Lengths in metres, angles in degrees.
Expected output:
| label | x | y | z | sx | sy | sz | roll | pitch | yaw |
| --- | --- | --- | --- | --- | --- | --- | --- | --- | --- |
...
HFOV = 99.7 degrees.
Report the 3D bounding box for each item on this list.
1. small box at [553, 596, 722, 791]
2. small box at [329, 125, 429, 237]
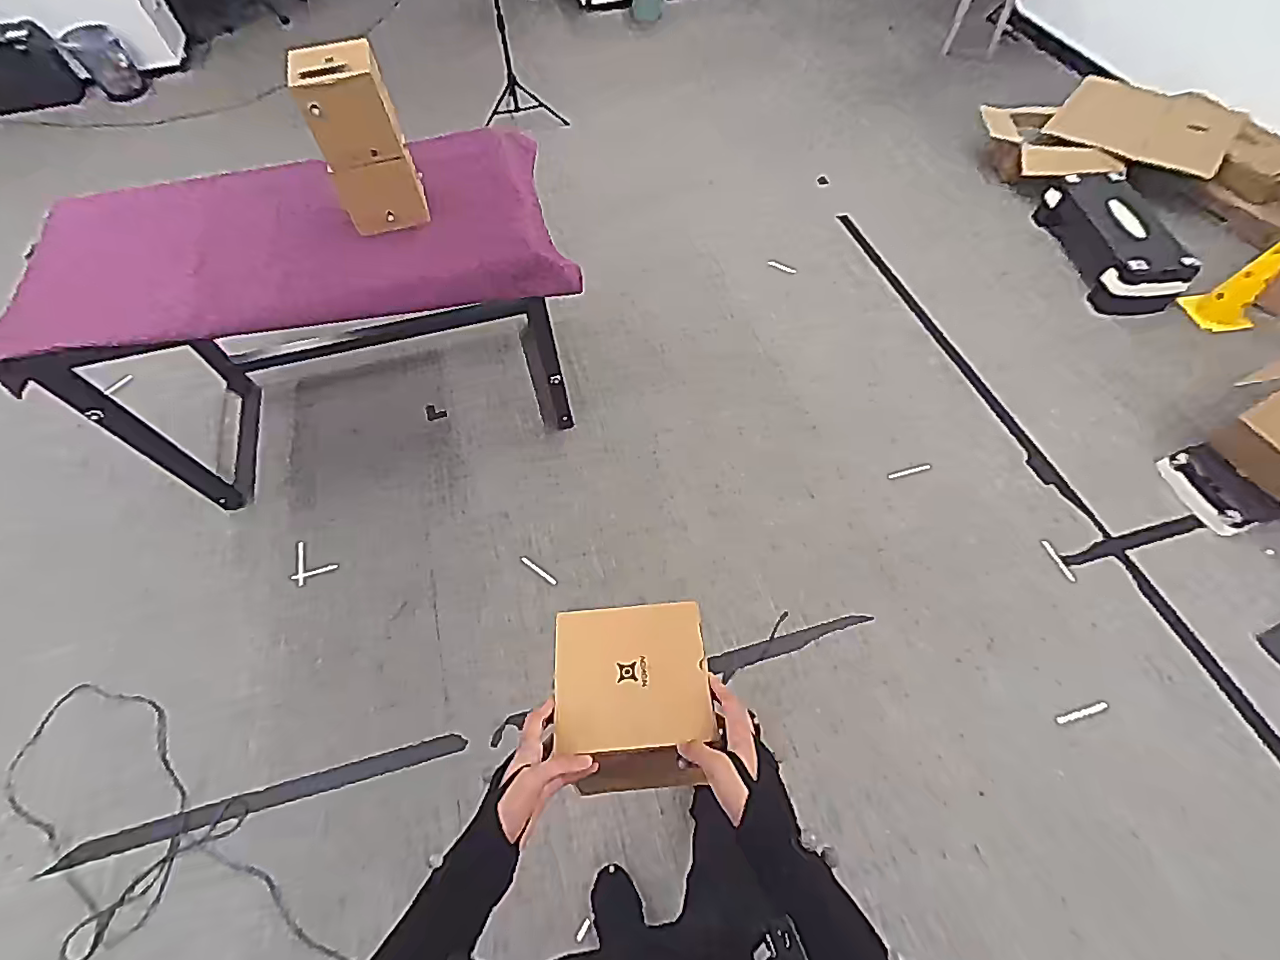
| label | x | y | z | sx | sy | sz | roll | pitch | yaw |
| --- | --- | --- | --- | --- | --- | --- | --- | --- | --- |
| small box | -0.003 | 0.262 | 0.658 | 0.179 | 0.176 | 0.168 | -5 | 47 | -2 |
| small box | -0.633 | -0.731 | 1.329 | 0.179 | 0.176 | 0.168 | -17 | 60 | -9 |
